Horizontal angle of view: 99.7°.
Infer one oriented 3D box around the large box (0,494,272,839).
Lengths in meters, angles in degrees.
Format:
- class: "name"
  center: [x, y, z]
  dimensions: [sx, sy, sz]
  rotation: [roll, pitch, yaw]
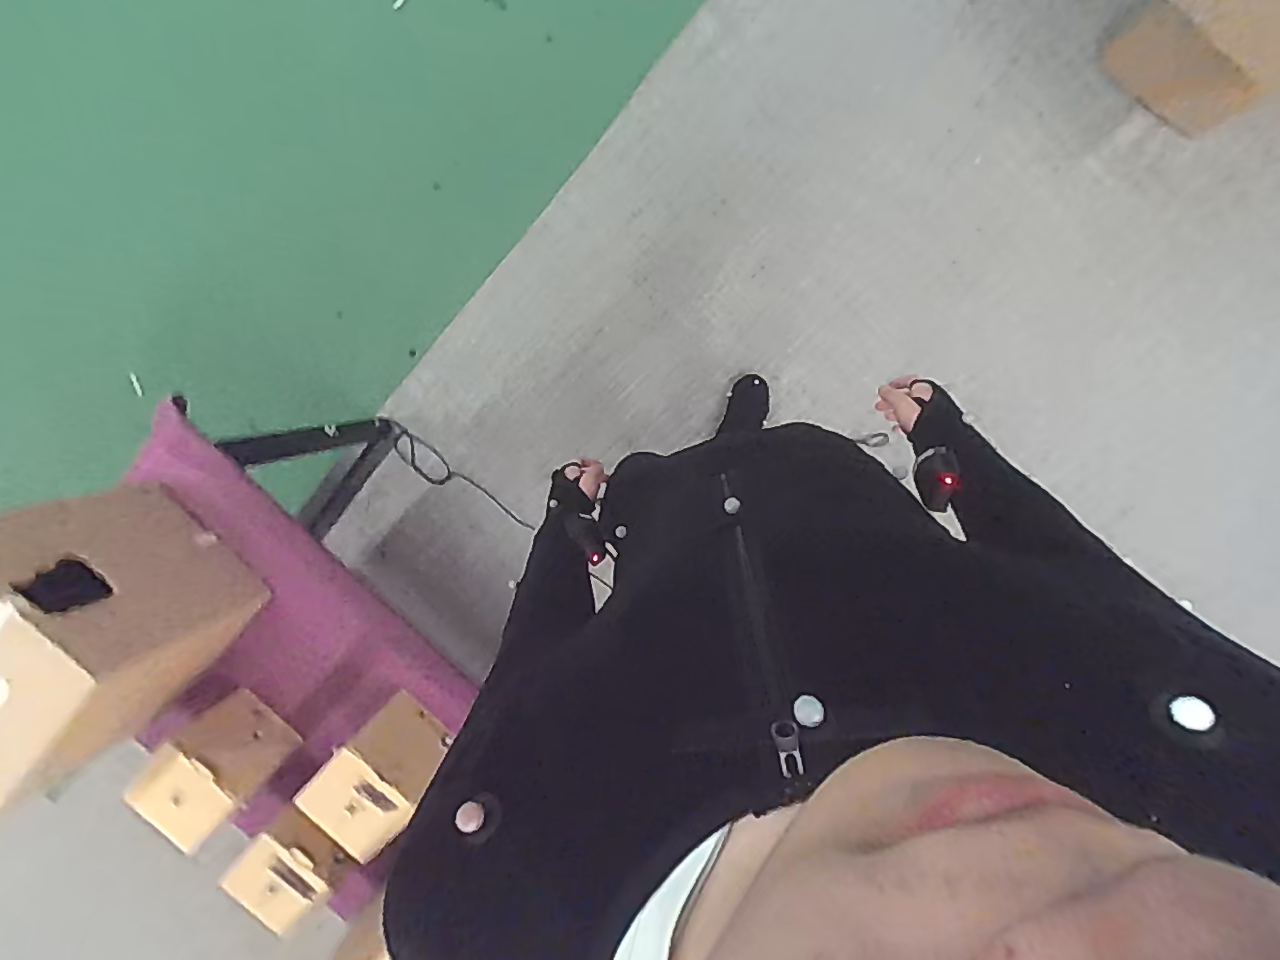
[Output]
- class: "large box"
  center: [-0.955, 0.290, 0.925]
  dimensions: [0.320, 0.320, 0.408]
  rotation: [43, 103, -3]
